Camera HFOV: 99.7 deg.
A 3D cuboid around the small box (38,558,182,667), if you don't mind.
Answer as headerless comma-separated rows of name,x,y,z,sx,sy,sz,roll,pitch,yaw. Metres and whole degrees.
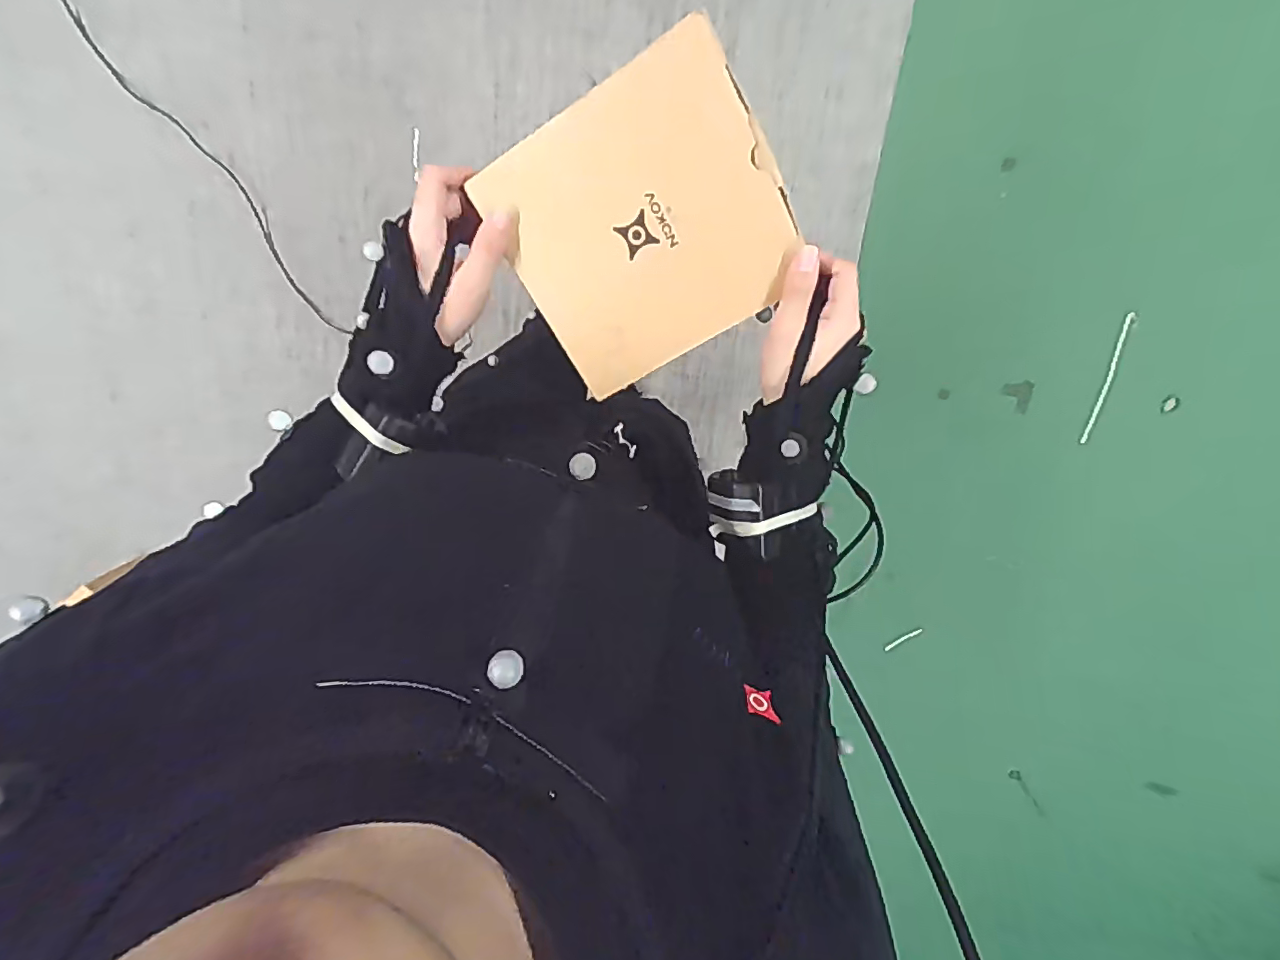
small box,-1.360,0.338,1.403,0.179,0.176,0.168,-36,106,10
